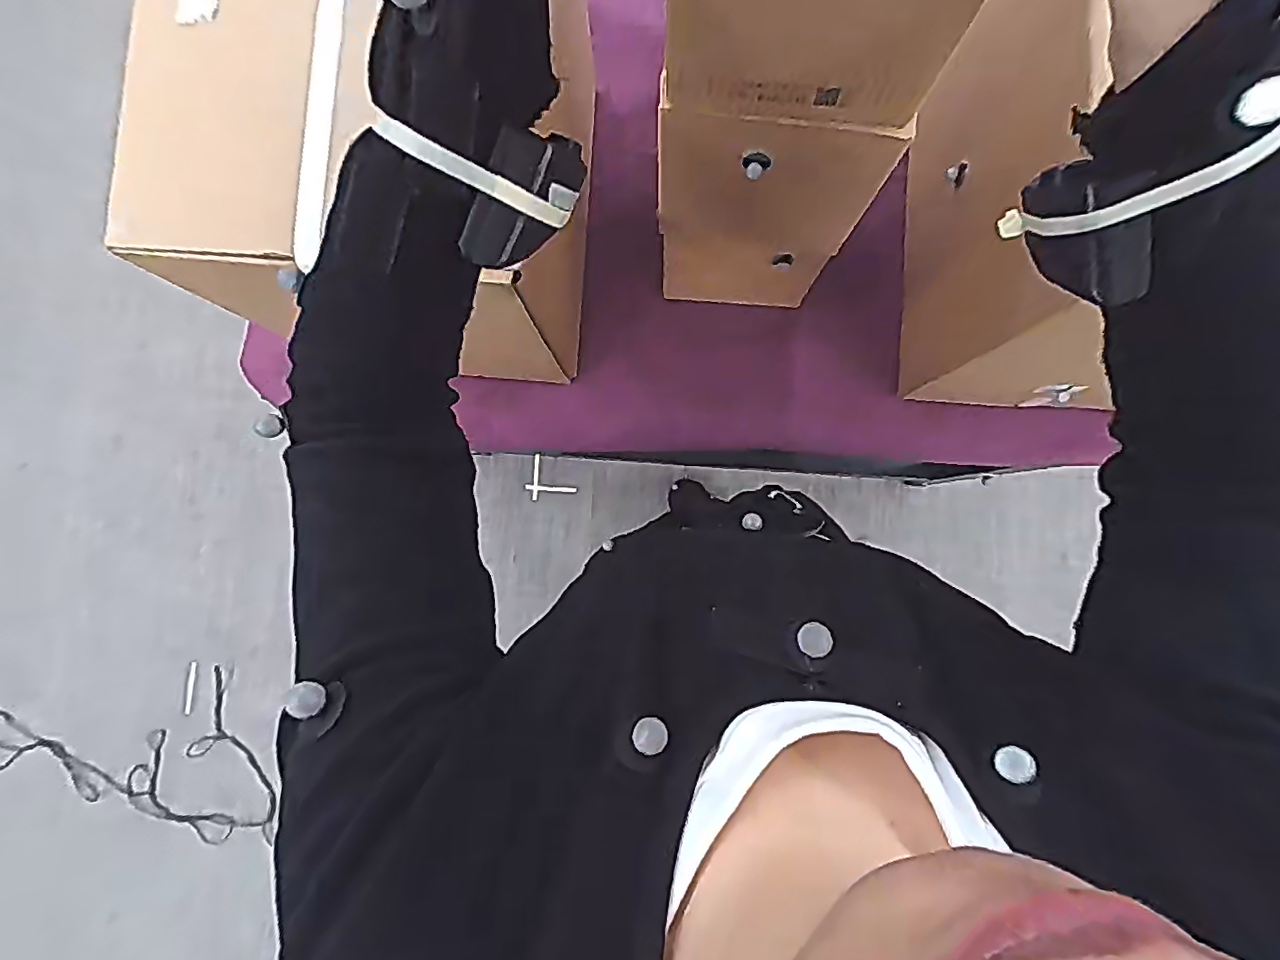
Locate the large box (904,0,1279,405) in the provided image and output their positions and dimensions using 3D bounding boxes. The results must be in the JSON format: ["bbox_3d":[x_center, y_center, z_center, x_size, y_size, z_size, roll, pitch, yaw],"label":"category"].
[{"bbox_3d":[0.476,-0.303,0.528,0.320,0.320,0.408,3,85,2],"label":"large box"}]
